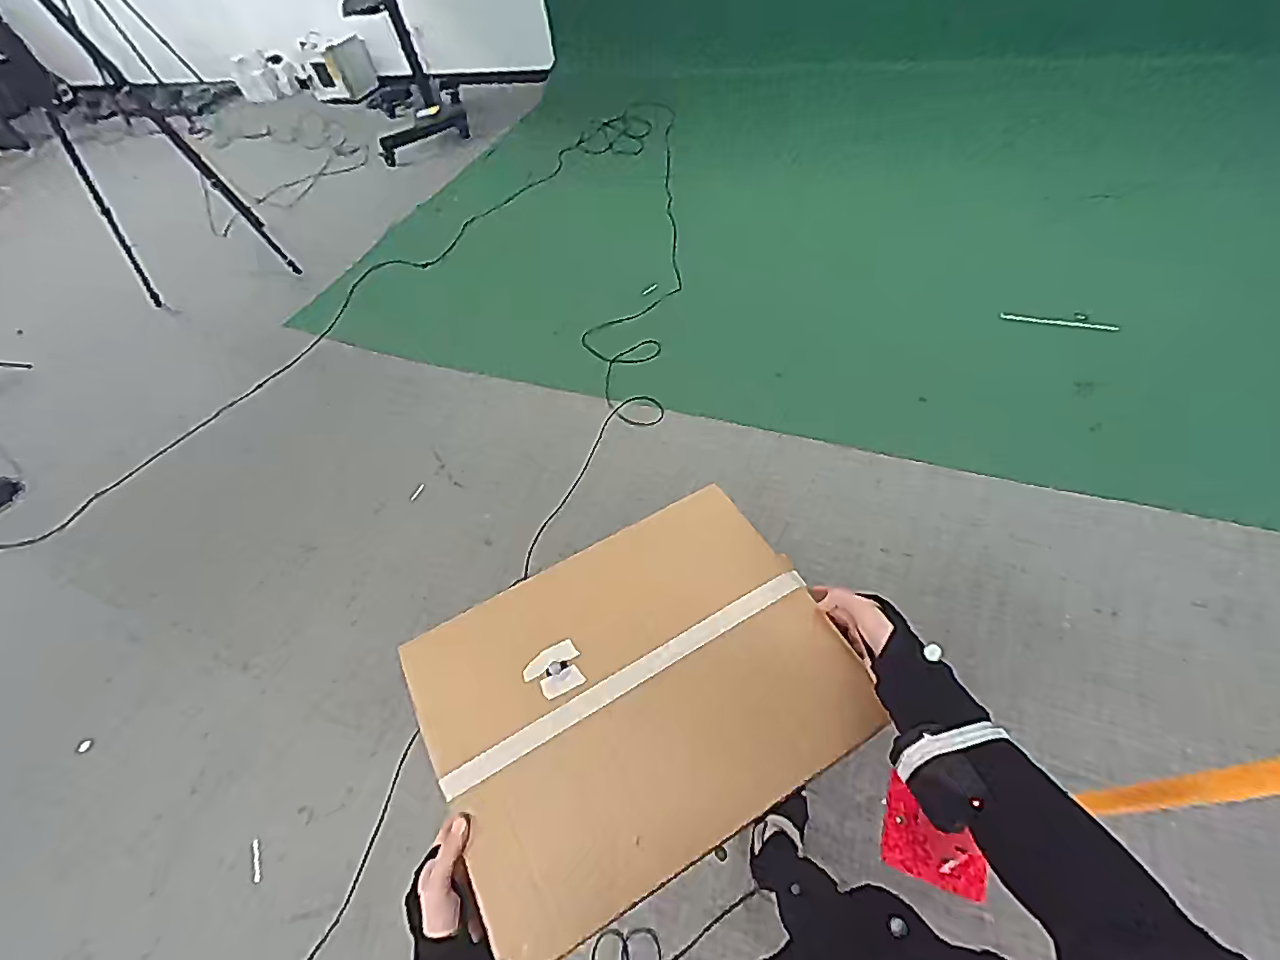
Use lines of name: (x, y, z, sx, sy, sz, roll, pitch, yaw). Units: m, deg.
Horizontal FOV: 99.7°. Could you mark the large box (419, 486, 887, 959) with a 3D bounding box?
large box: (0.012, 0.281, 0.684, 0.408, 0.320, 0.320, -27, 58, -12)
